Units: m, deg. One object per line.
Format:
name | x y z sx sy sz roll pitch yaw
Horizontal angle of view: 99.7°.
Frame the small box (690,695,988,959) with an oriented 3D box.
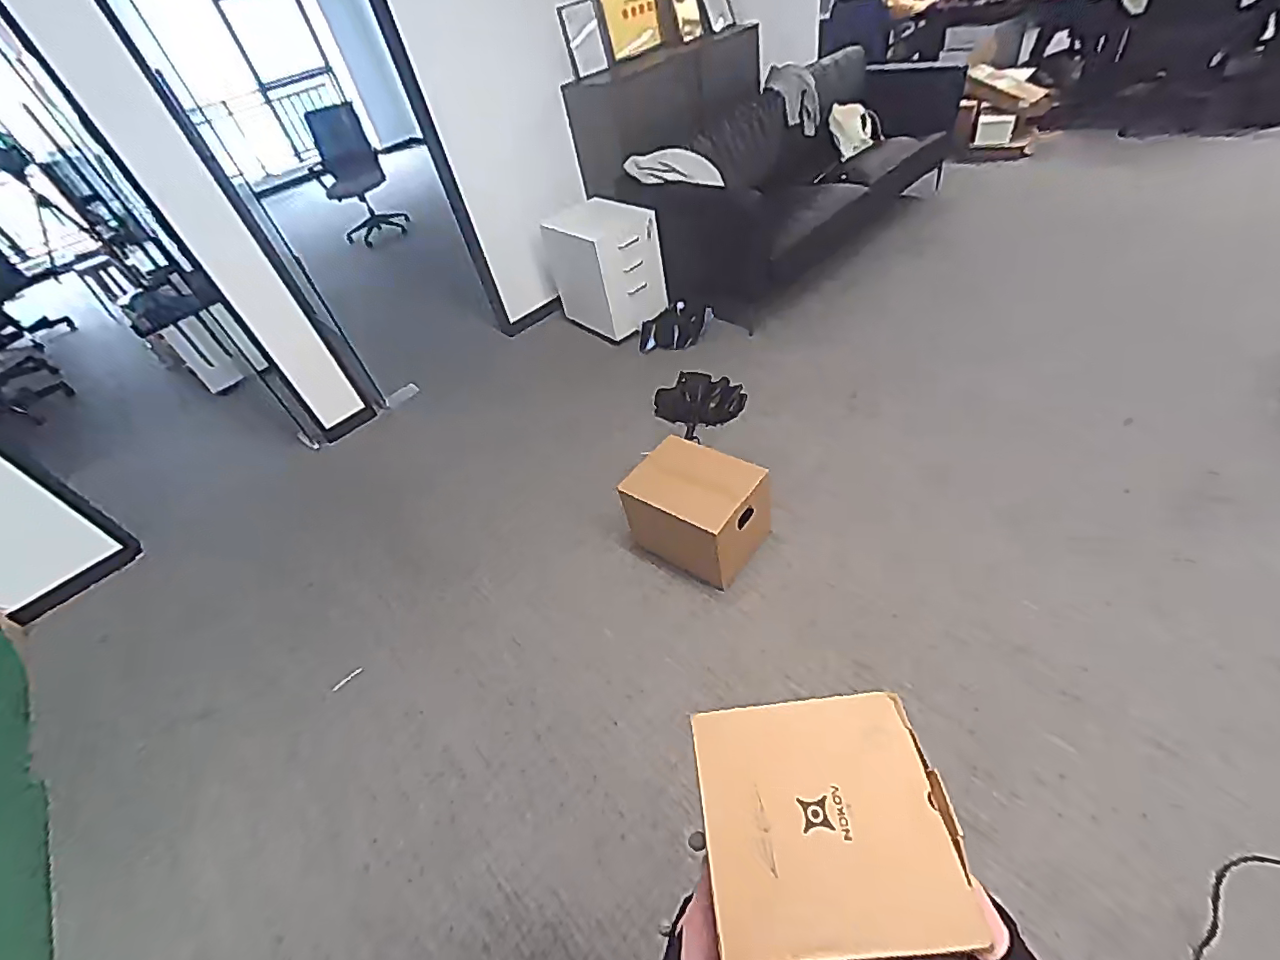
small box | 0.142 0.302 0.458 0.179 0.176 0.168 -9 46 4
